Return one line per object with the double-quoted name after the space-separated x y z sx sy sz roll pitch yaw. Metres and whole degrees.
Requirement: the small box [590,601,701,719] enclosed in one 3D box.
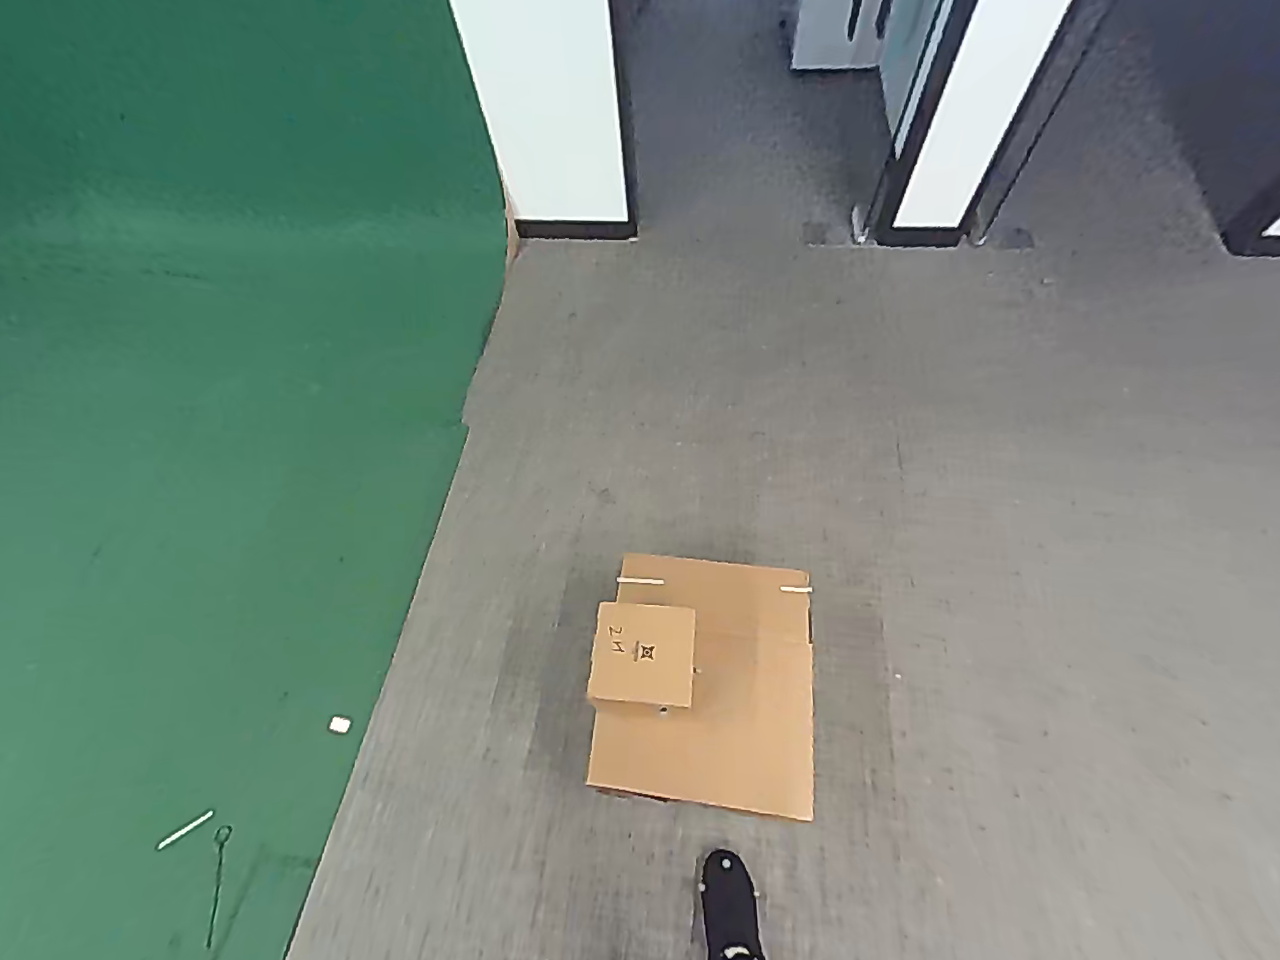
0.017 0.334 0.990 0.179 0.176 0.168 3 59 7 "small box"
